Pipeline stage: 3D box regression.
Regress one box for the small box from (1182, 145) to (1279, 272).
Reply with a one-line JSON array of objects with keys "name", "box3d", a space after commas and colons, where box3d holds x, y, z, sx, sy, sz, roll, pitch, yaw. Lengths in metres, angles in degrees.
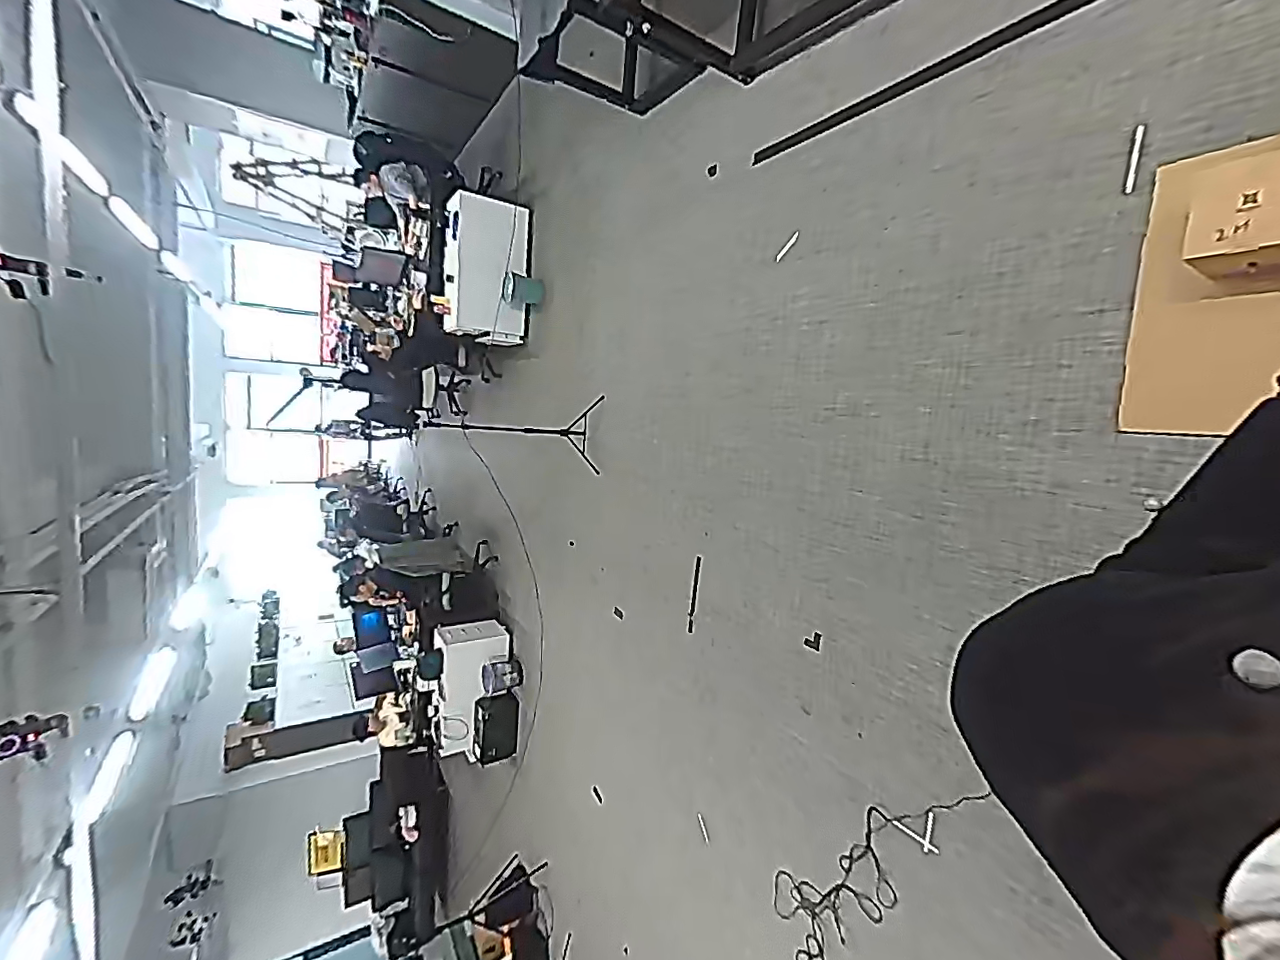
[{"name": "small box", "box3d": [1.207, -0.525, 1.053, 0.168, 0.176, 0.179, 13, 101, 57]}]
